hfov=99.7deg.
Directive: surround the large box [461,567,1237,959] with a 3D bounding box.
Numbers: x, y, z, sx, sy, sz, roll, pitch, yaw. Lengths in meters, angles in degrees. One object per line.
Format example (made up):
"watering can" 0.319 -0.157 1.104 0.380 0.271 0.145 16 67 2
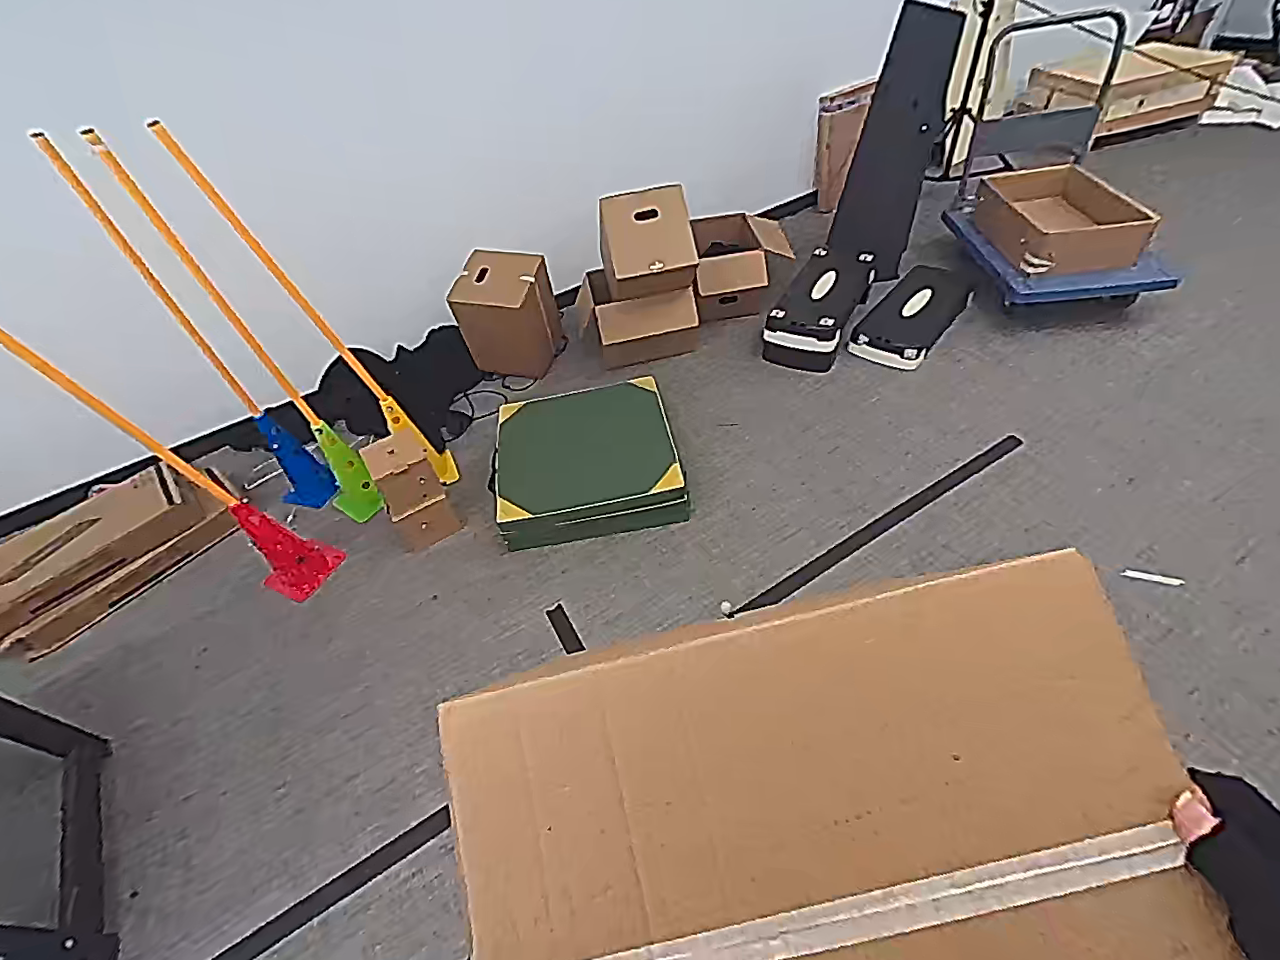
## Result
"large box" 0.125 0.279 0.451 0.408 0.320 0.320 -15 76 1
